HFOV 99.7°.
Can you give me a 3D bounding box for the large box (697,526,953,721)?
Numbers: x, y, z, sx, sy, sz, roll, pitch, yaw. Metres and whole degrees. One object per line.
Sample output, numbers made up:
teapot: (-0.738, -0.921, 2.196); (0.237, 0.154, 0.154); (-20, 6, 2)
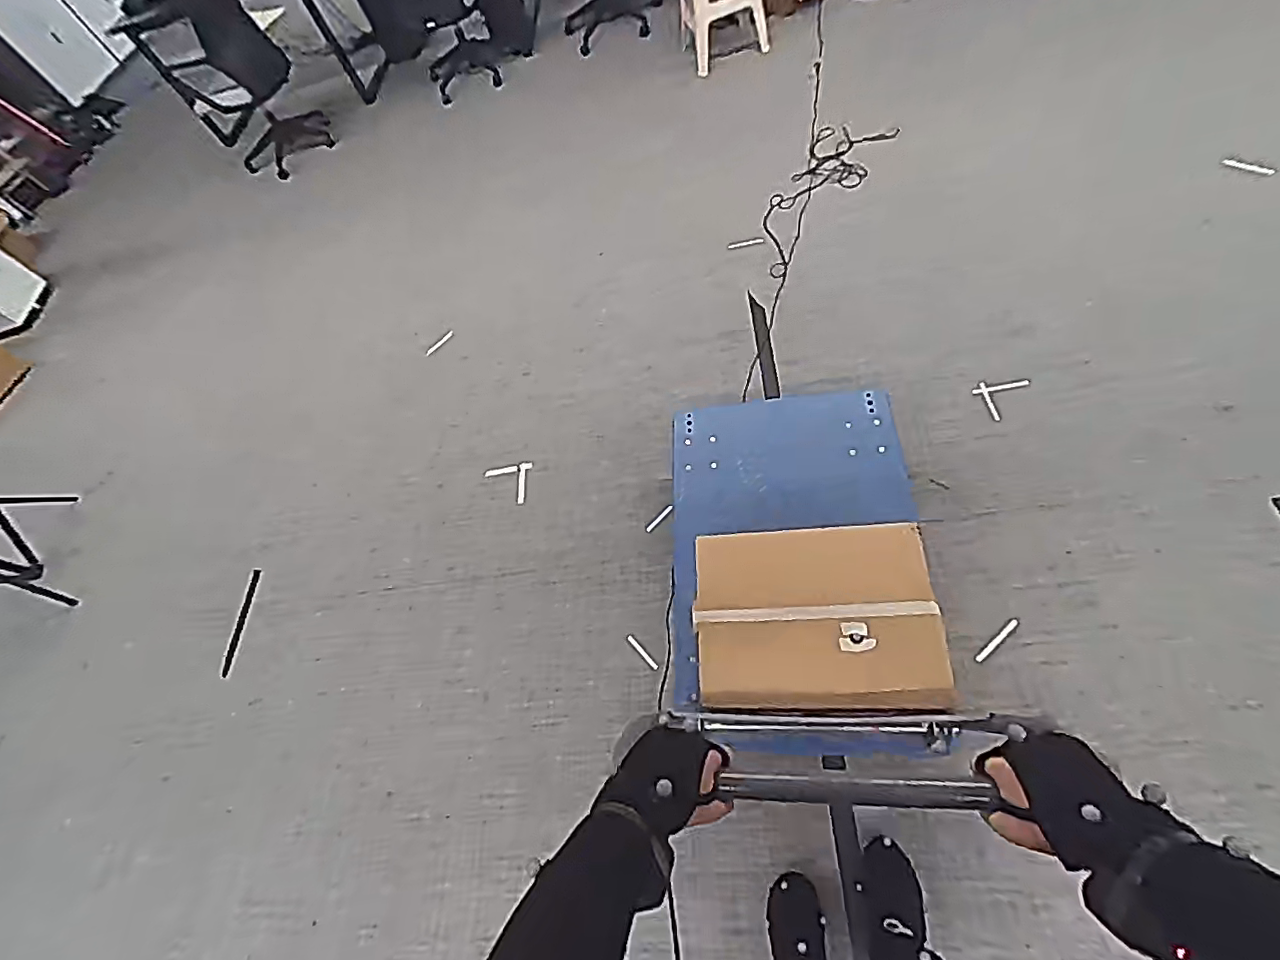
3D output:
large box: (0.338, 0.307, 1.092); (0.408, 0.320, 0.320); (-5, 64, 12)
